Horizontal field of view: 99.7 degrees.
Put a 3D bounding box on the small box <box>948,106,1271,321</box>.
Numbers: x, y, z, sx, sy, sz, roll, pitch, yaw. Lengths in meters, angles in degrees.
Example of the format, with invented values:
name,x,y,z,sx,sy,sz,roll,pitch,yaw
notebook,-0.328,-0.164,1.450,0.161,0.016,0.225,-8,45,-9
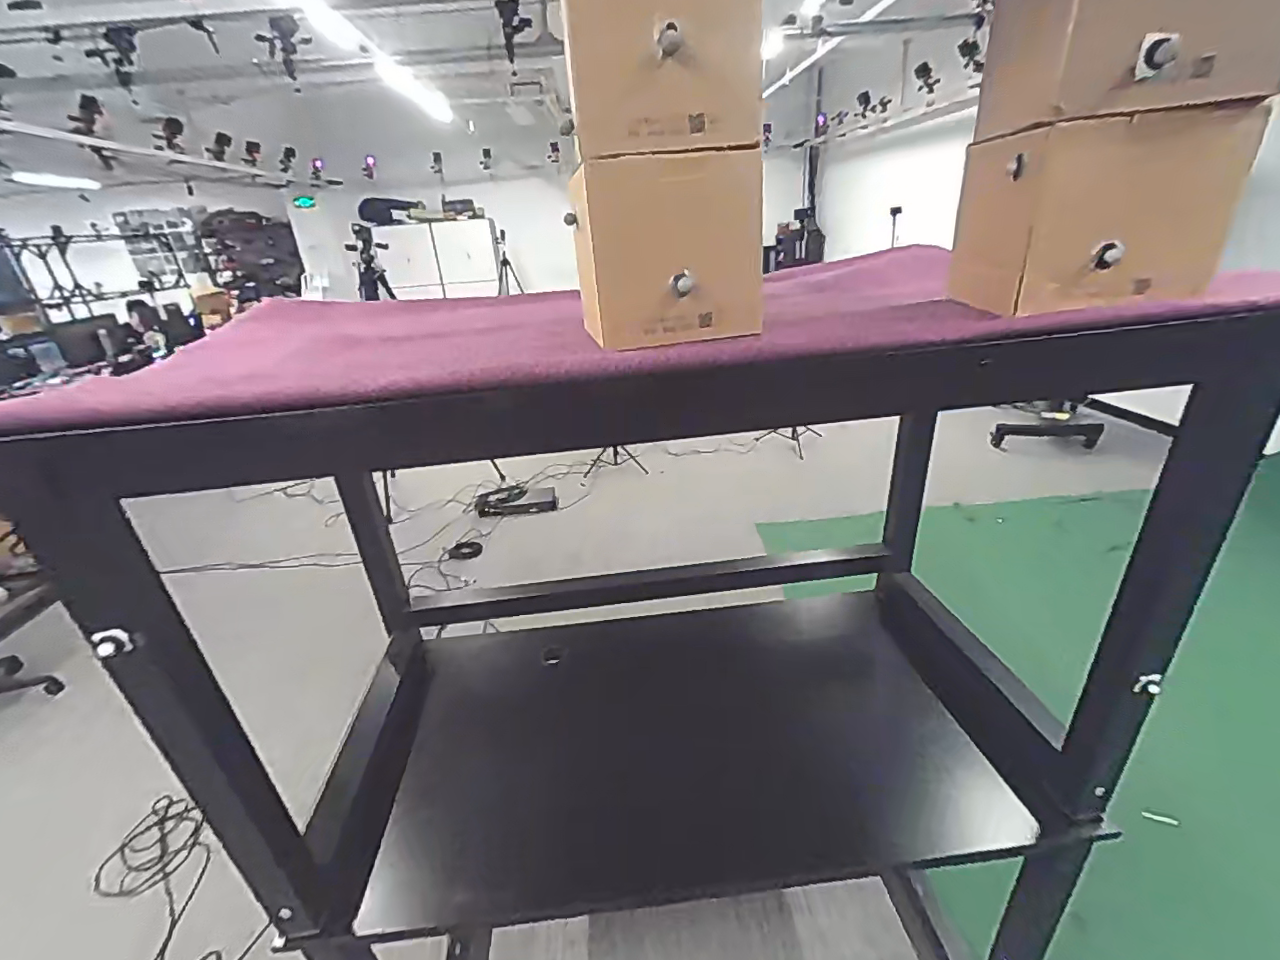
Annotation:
name,x,y,z,sx,sy,sz,roll,pitch,yaw
small box,0.442,-0.262,0.554,0.168,0.176,0.179,-2,27,7

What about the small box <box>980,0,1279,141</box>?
name,x,y,z,sx,sy,sz,roll,pitch,yaw
small box,0.430,-0.404,0.477,0.168,0.176,0.179,-1,28,11

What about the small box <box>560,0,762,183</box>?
name,x,y,z,sx,sy,sz,roll,pitch,yaw
small box,0.015,-0.392,0.516,0.168,0.176,0.179,-7,25,-4
